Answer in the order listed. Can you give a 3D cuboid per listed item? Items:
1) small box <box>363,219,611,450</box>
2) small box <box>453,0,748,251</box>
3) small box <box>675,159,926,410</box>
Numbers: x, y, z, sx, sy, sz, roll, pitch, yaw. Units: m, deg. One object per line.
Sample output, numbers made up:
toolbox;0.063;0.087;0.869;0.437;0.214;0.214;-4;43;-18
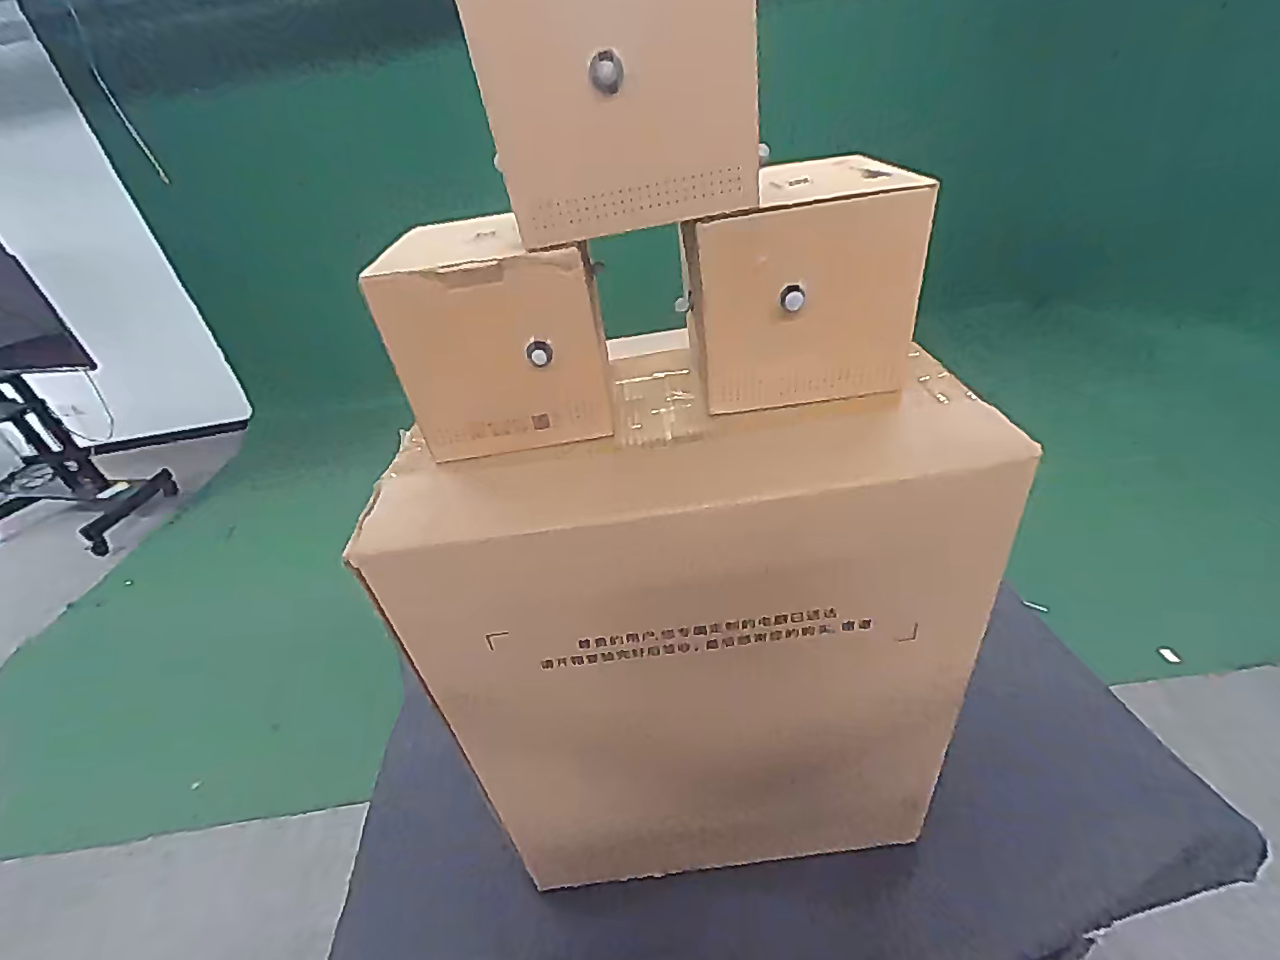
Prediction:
small box;-0.121;-0.139;0.510;0.168;0.176;0.179;-8;35;0
small box;-0.019;-0.289;0.408;0.179;0.176;0.168;-10;36;2
small box;0.132;-0.179;0.502;0.179;0.176;0.168;-9;37;3
